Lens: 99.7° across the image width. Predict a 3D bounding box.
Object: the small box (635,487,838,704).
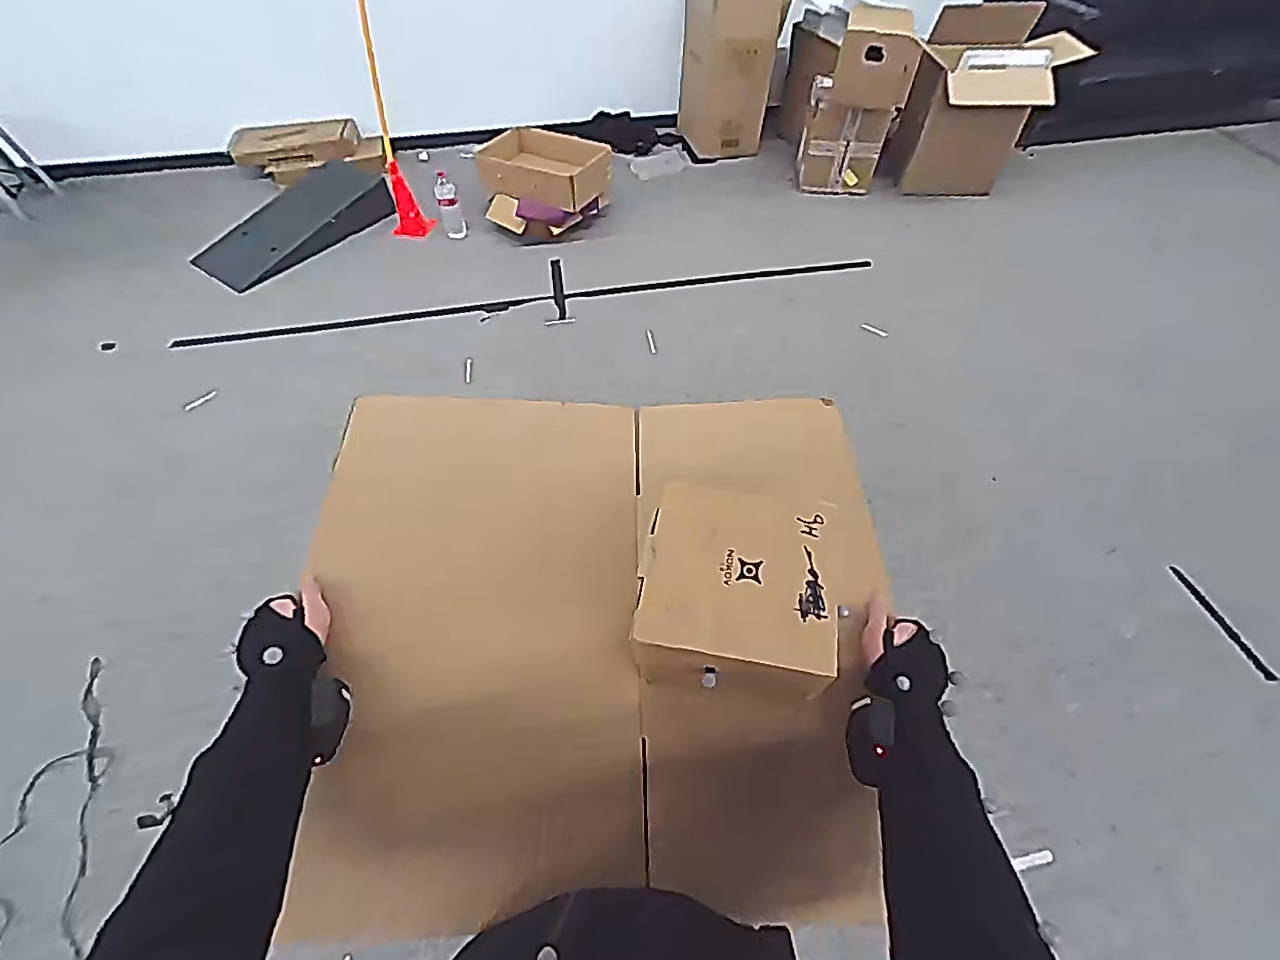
[{"bbox_3d":[0.103,0.127,0.574,0.179,0.176,0.168,7,59,11],"label":"small box"}]
